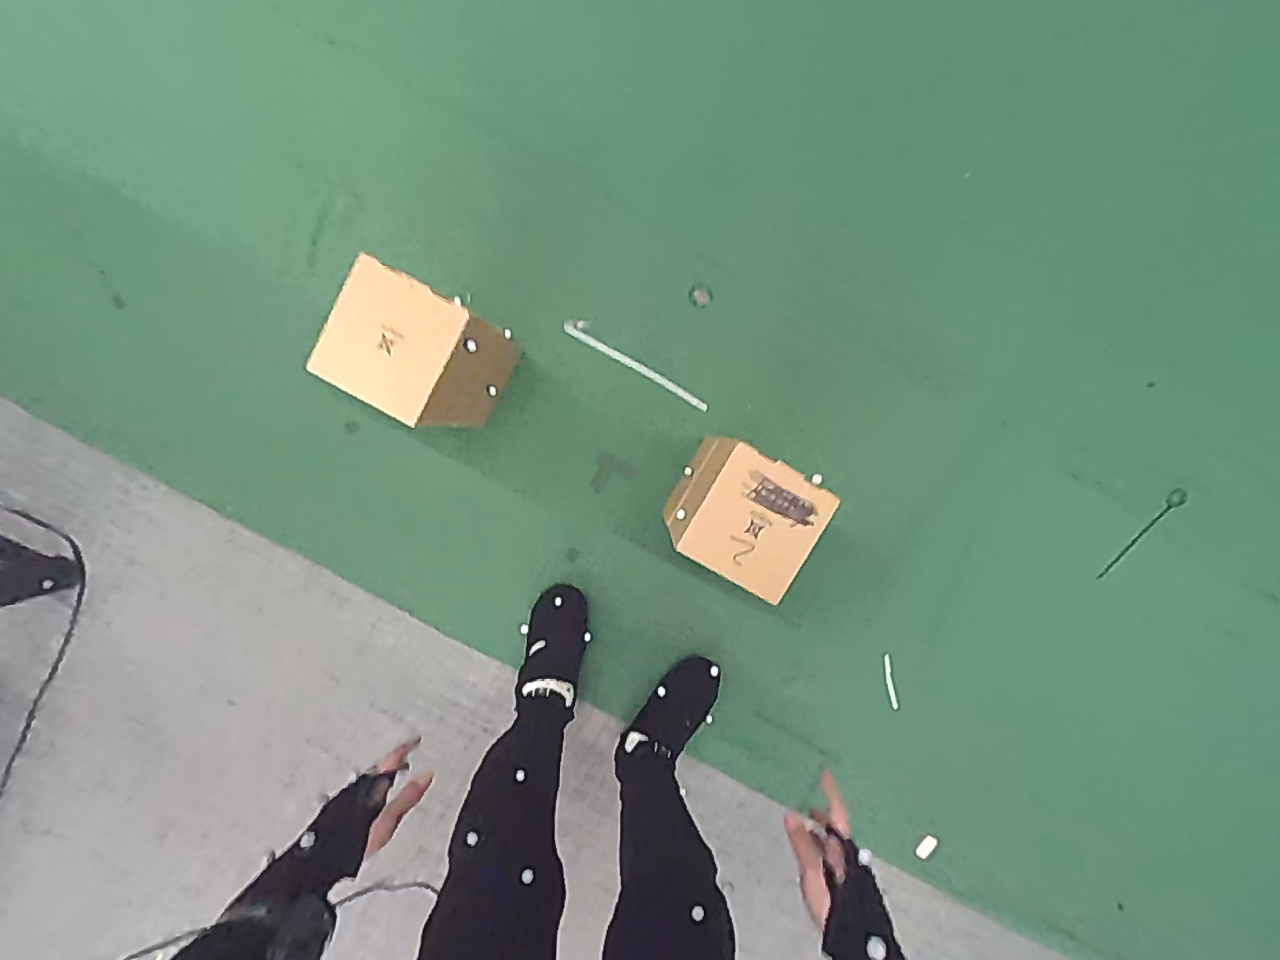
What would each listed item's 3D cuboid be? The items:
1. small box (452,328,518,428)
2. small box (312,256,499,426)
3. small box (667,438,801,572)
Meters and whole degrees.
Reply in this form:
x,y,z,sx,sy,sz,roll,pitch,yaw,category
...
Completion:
x,y,z,sx,sy,sz,roll,pitch,yaw,category
-0.334,-0.207,0.966,0.168,0.176,0.179,29,96,-2,small box
-0.333,-0.191,0.805,0.168,0.176,0.179,28,94,-1,small box
0.158,0.035,0.986,0.168,0.176,0.179,30,95,-3,small box
